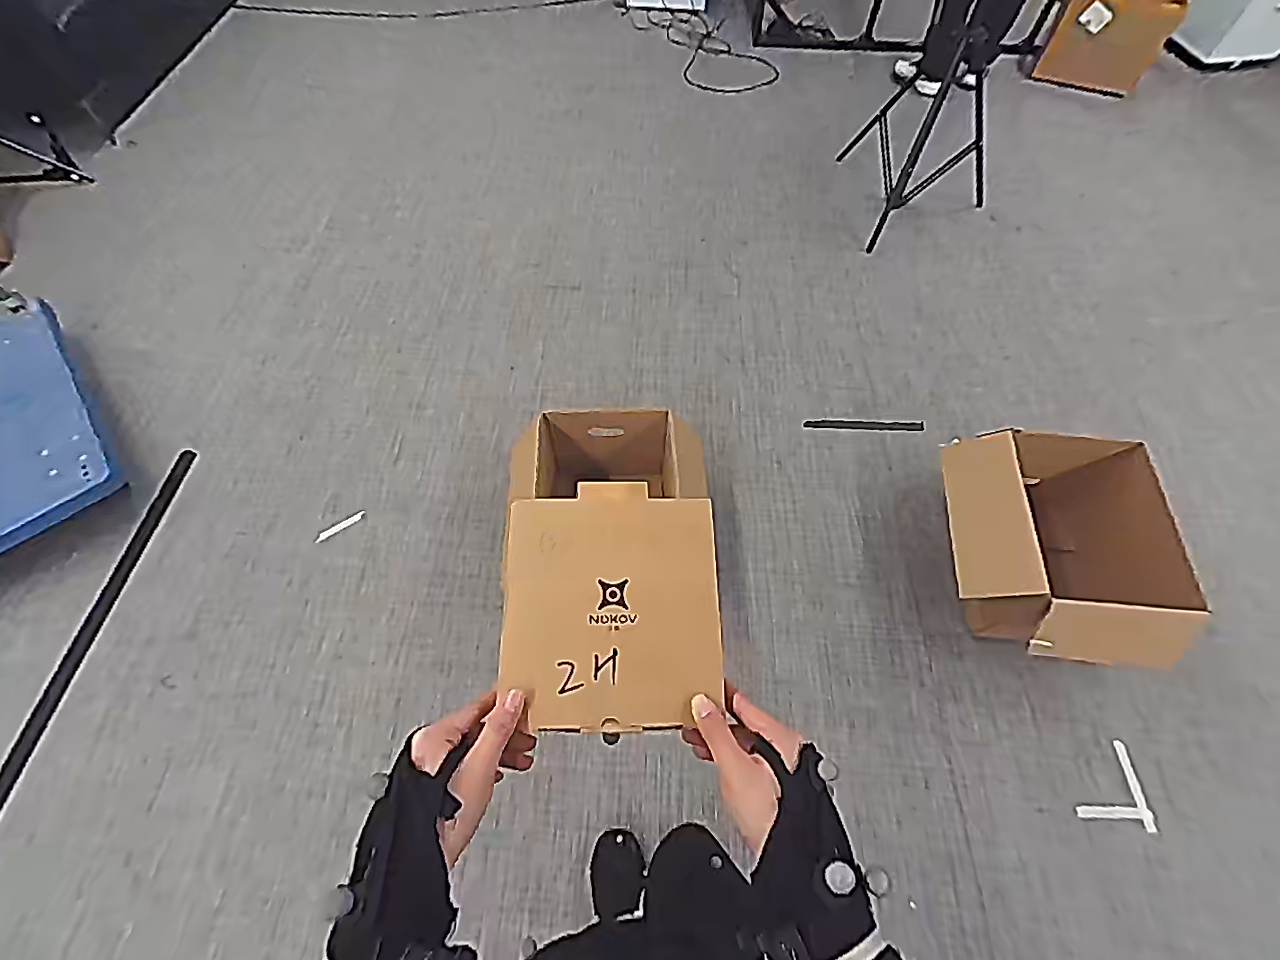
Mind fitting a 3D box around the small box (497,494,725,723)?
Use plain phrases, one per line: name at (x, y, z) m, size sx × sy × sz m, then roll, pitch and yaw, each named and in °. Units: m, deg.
small box at (-0.024, 0.123, 0.490) m, size 0.168 × 0.176 × 0.179 m, roll 0°, pitch 68°, yaw -2°
